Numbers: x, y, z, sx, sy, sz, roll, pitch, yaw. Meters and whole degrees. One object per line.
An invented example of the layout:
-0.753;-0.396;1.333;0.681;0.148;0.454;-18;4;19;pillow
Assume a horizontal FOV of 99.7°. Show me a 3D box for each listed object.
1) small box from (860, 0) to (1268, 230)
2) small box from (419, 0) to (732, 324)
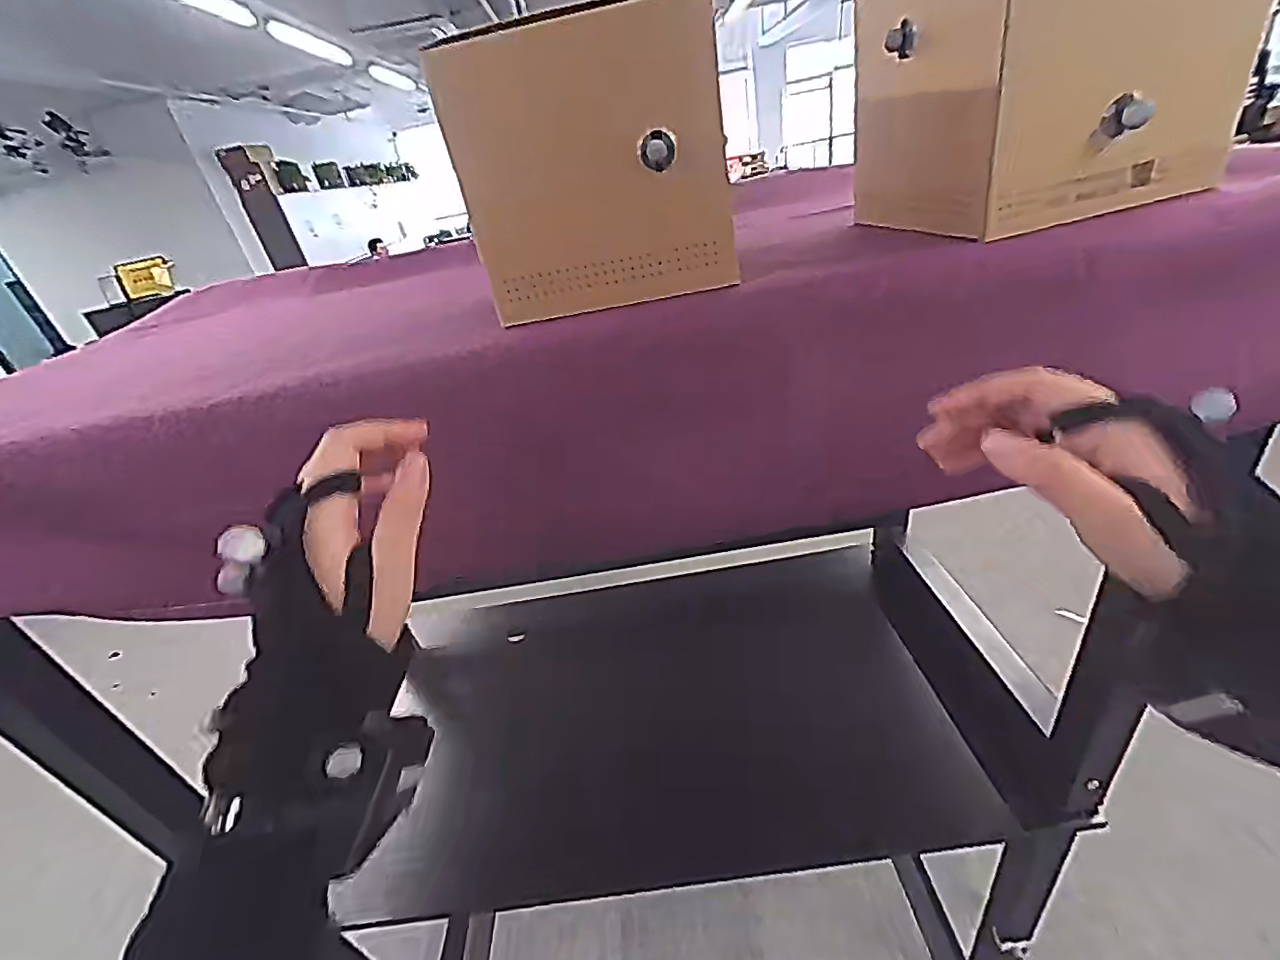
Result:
0.271;-0.284;0.384;0.168;0.176;0.179;-14;30;-2;small box
-0.028;-0.232;0.410;0.179;0.176;0.168;-9;29;6;small box
